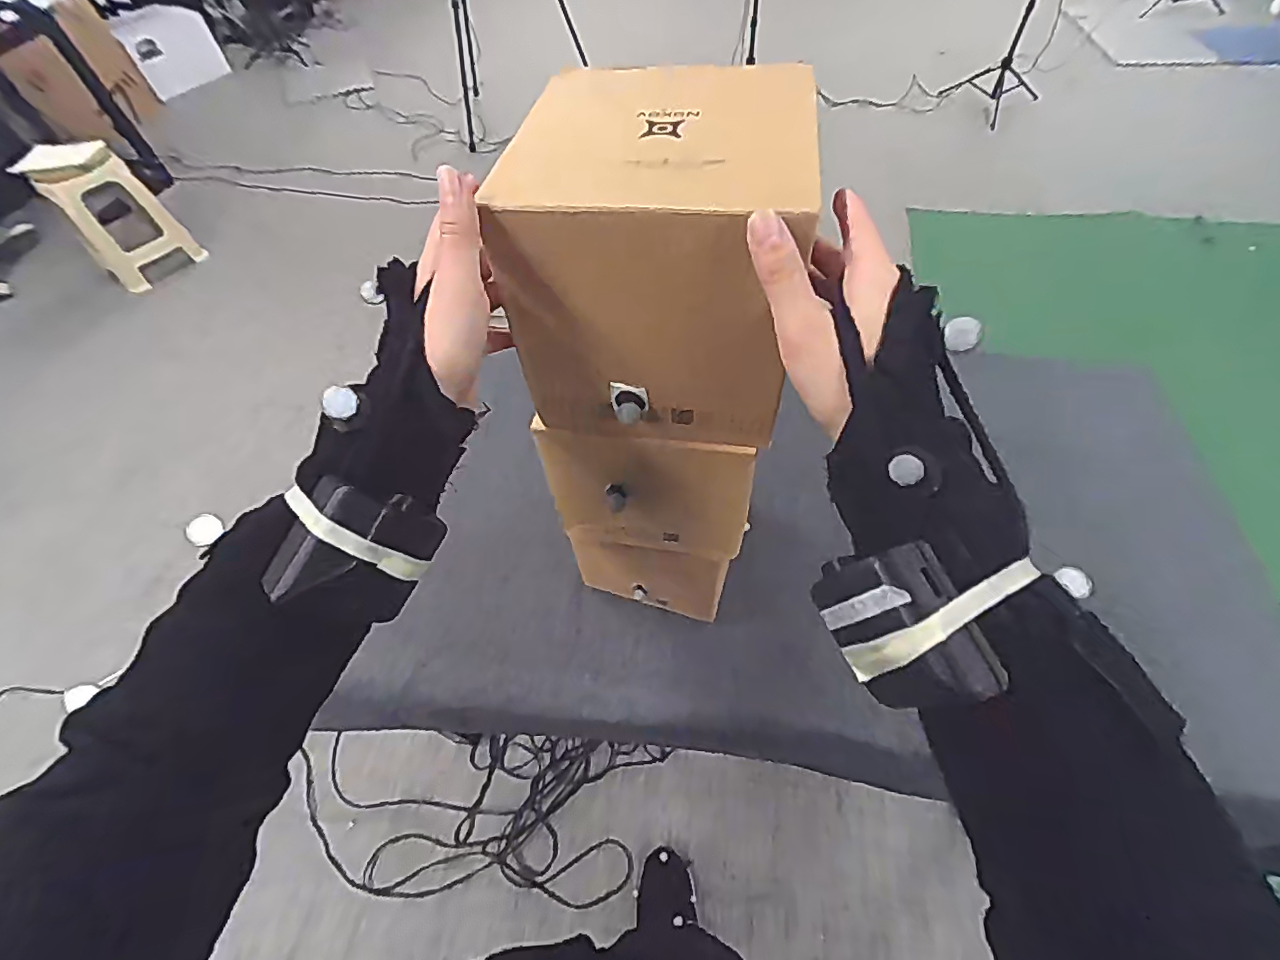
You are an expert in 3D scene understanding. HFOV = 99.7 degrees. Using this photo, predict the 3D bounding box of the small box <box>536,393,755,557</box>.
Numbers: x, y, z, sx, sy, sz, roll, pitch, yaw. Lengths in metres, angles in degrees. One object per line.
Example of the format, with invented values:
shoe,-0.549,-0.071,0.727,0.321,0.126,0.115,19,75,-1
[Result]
small box,0.022,-0.047,0.496,0.168,0.176,0.179,7,55,9

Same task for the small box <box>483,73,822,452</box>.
small box,0.020,-0.143,0.364,0.168,0.176,0.179,6,56,9
